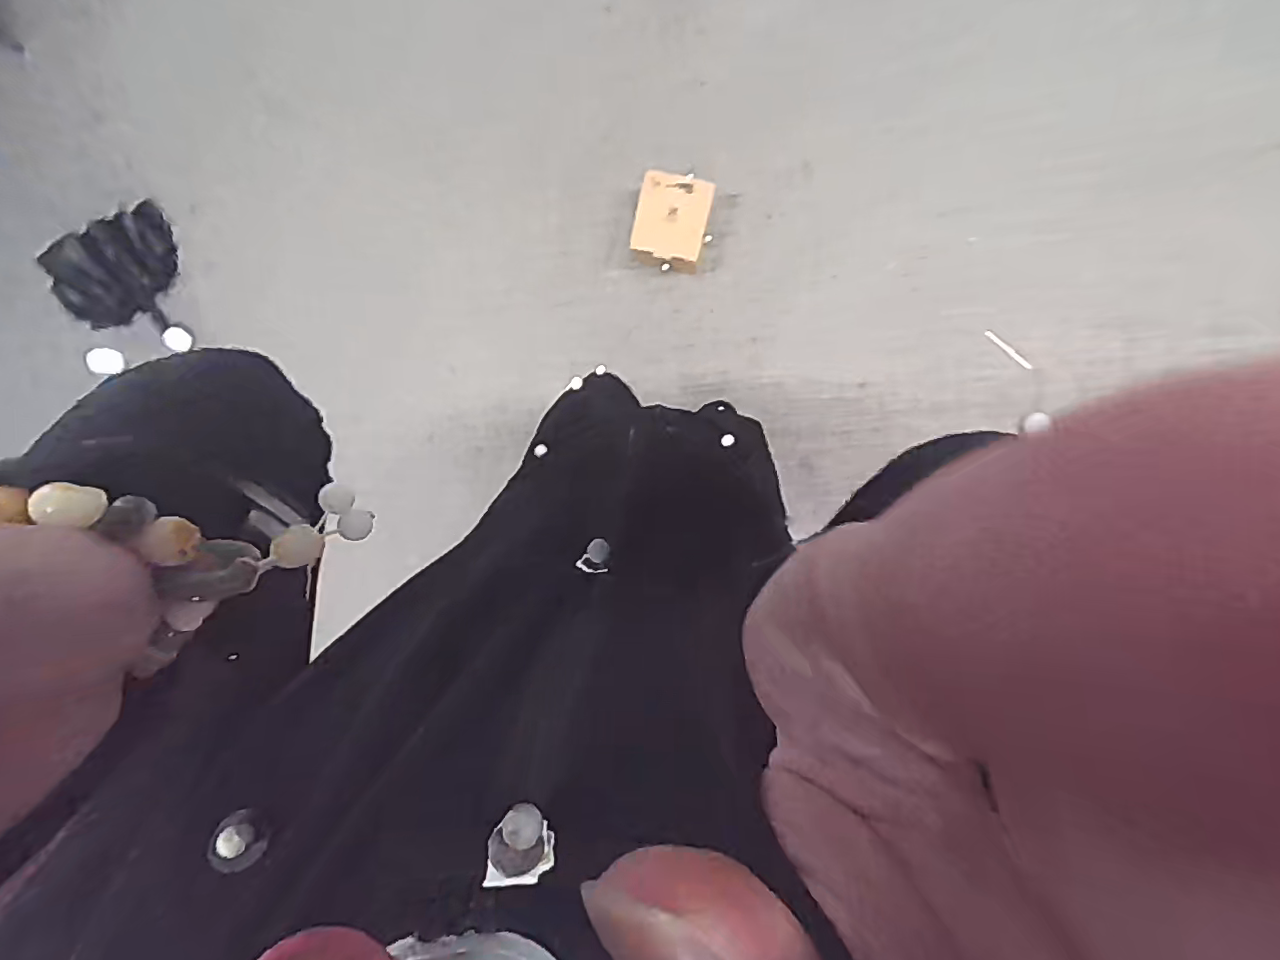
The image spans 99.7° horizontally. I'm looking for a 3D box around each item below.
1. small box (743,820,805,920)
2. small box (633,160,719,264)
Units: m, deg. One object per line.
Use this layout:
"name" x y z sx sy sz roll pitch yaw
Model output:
"small box" 0.398 1.164 1.628 0.168 0.176 0.179 1 102 10
"small box" 0.093 -0.634 1.301 0.168 0.176 0.179 15 104 6
